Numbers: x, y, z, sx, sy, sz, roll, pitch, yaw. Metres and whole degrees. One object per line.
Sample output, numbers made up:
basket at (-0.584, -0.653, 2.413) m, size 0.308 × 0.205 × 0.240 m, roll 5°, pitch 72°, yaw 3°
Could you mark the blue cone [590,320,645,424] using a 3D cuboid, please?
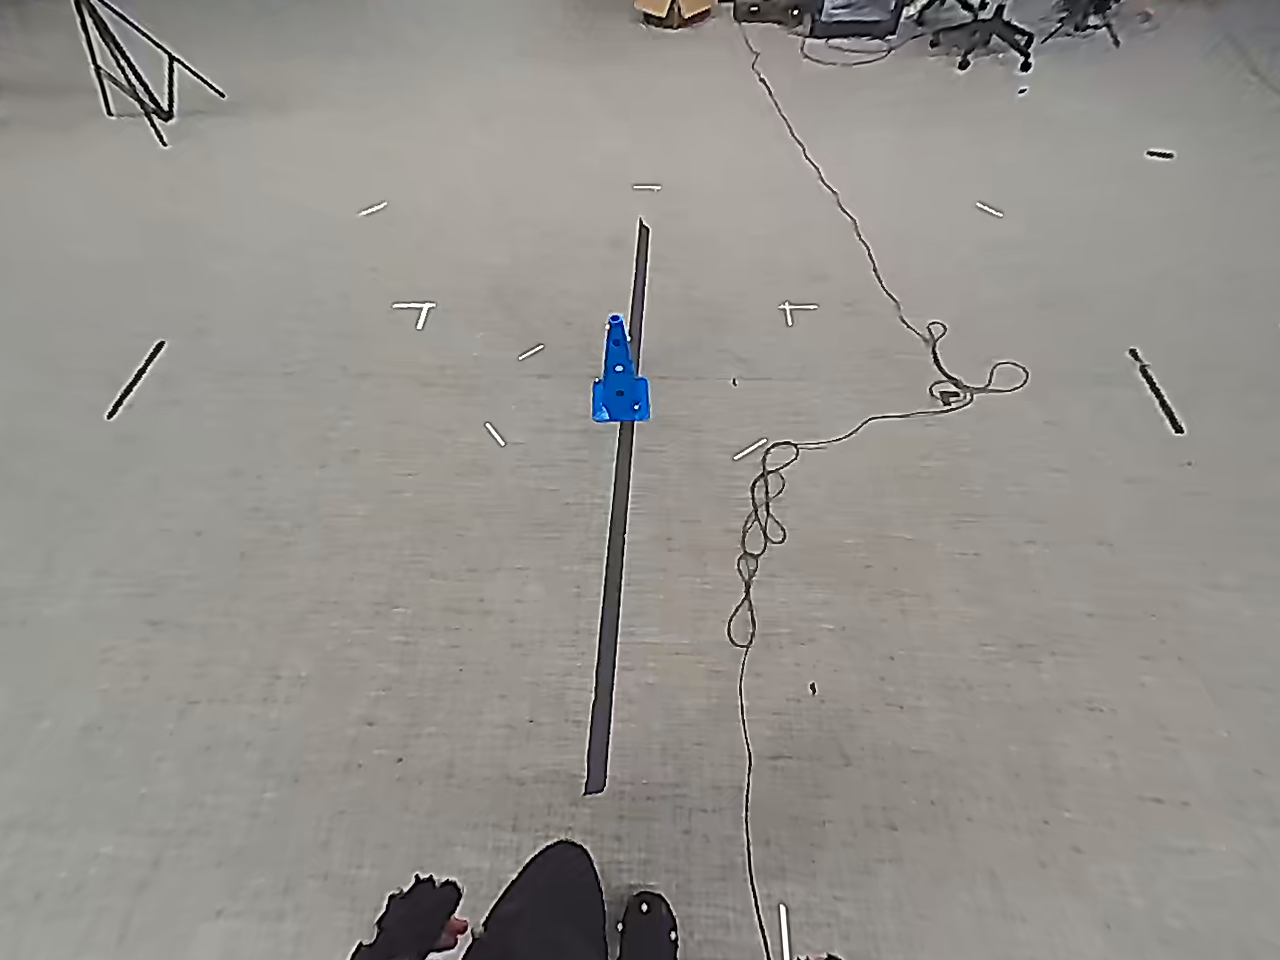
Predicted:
blue cone at (-0.085, -0.367, 1.780) m, size 0.192 × 0.380 × 0.193 m, roll -1°, pitch 56°, yaw 1°
